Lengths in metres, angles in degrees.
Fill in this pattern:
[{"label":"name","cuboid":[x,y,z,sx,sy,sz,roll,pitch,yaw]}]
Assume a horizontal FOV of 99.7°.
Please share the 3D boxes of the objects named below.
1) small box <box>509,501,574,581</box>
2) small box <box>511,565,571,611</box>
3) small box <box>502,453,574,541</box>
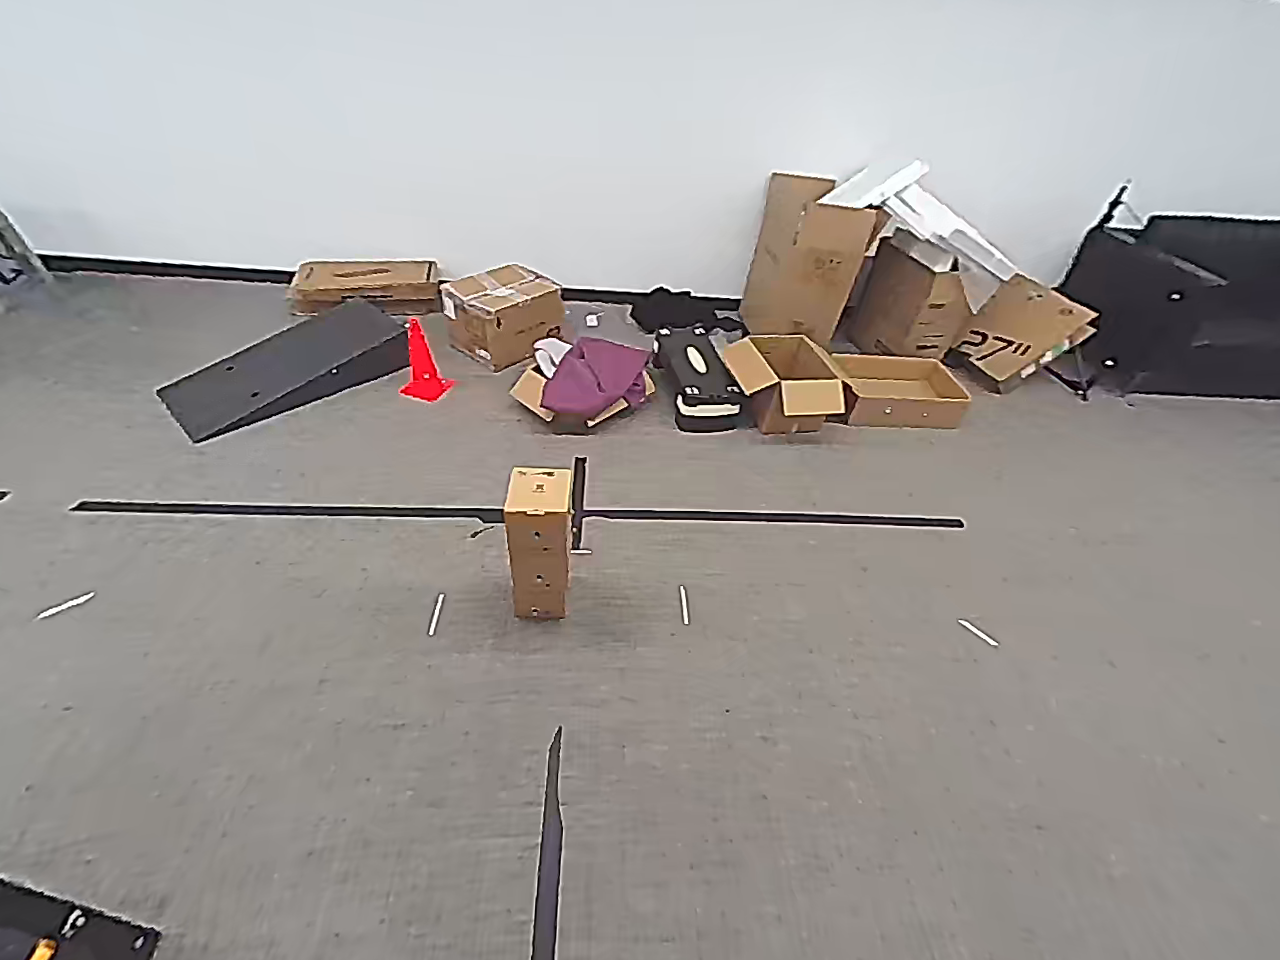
[{"label":"small box","cuboid":[-0.277,0.167,1.549,0.168,0.176,0.179,1,42,-5]},{"label":"small box","cuboid":[-0.300,0.283,1.666,0.168,0.176,0.179,1,44,-5]},{"label":"small box","cuboid":[-0.264,0.048,1.438,0.168,0.176,0.179,2,43,-5]}]
